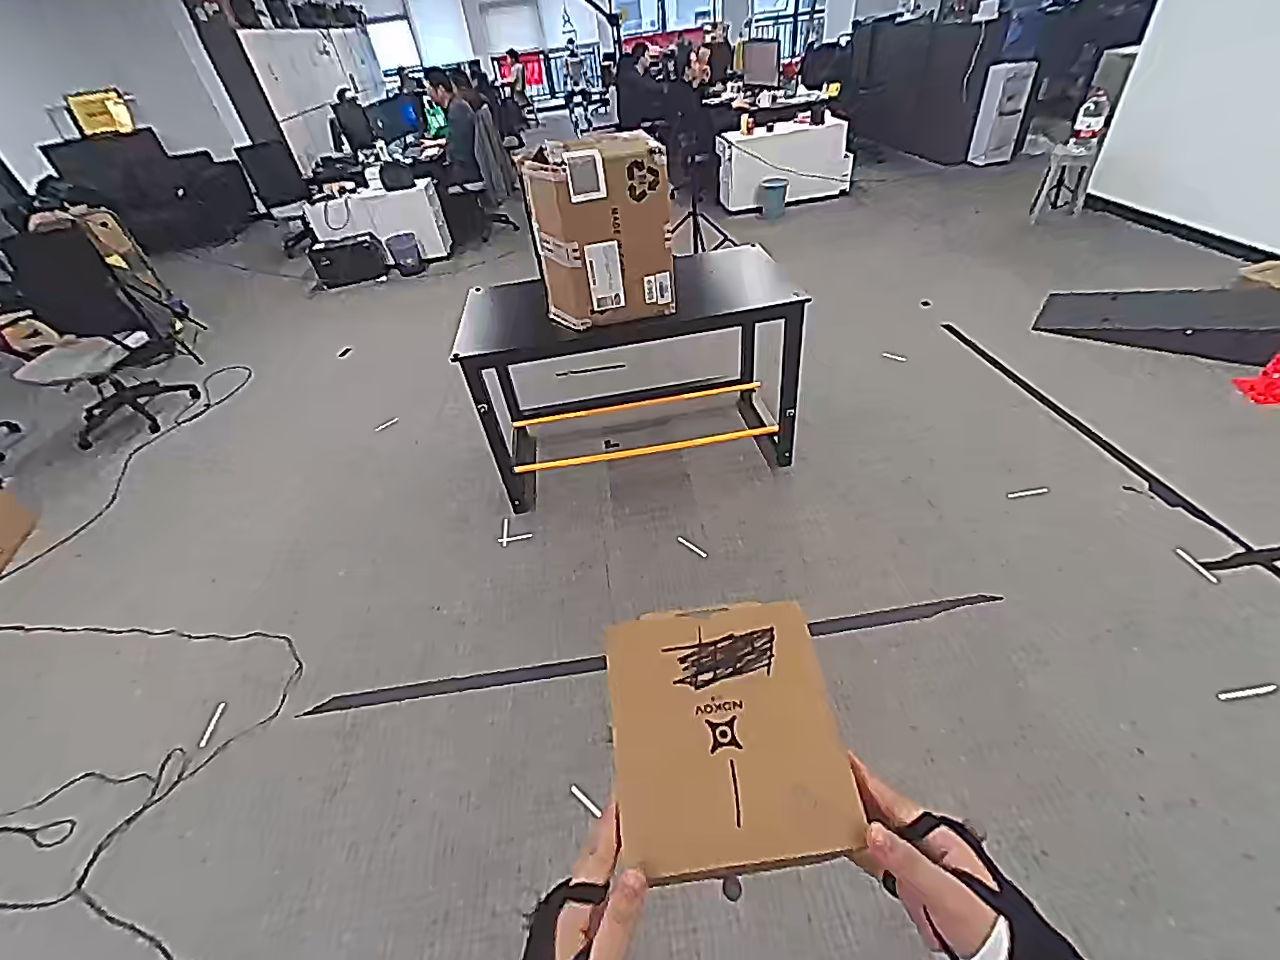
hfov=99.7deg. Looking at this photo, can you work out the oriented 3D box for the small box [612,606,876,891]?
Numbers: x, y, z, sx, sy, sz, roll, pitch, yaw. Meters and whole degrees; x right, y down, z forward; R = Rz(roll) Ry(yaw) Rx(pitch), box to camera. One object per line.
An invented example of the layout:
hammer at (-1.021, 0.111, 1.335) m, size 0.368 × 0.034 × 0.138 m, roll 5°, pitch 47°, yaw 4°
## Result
small box at (0.069, 0.232, 0.464) m, size 0.168 × 0.176 × 0.179 m, roll -8°, pitch 52°, yaw -1°
